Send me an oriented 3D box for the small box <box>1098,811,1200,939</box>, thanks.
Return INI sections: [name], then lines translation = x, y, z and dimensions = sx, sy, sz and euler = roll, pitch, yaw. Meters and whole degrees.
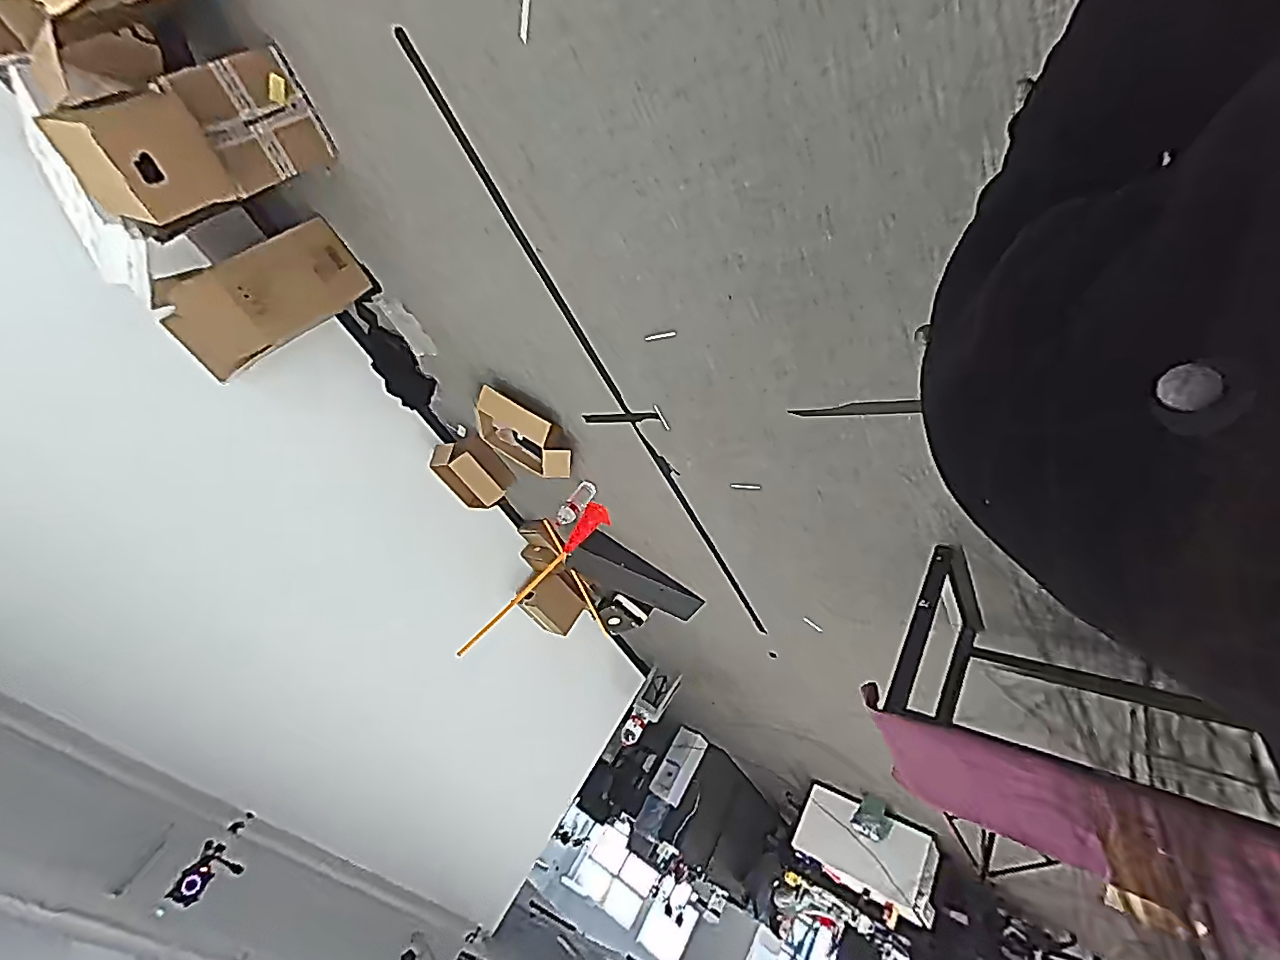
[small box]
translation = 1.218, 0.941, 1.299
dimensions = 0.168, 0.176, 0.179
euler = 4, 137, 41
